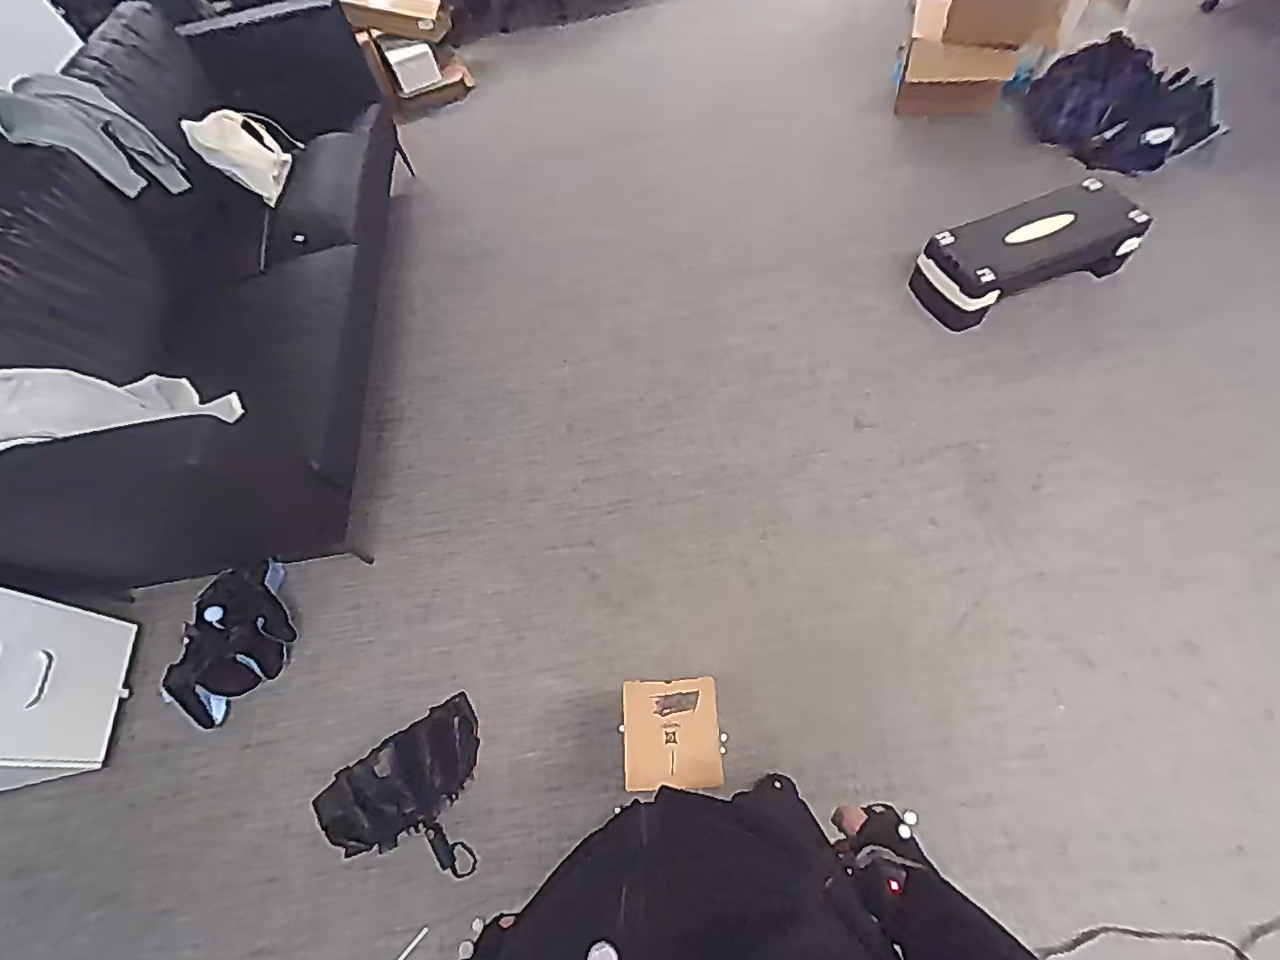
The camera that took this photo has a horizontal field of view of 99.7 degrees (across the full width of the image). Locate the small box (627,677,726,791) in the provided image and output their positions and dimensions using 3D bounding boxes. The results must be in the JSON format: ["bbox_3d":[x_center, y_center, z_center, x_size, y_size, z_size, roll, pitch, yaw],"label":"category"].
[{"bbox_3d":[0.066,0.474,1.004,0.168,0.176,0.179,-5,61,5],"label":"small box"}]
